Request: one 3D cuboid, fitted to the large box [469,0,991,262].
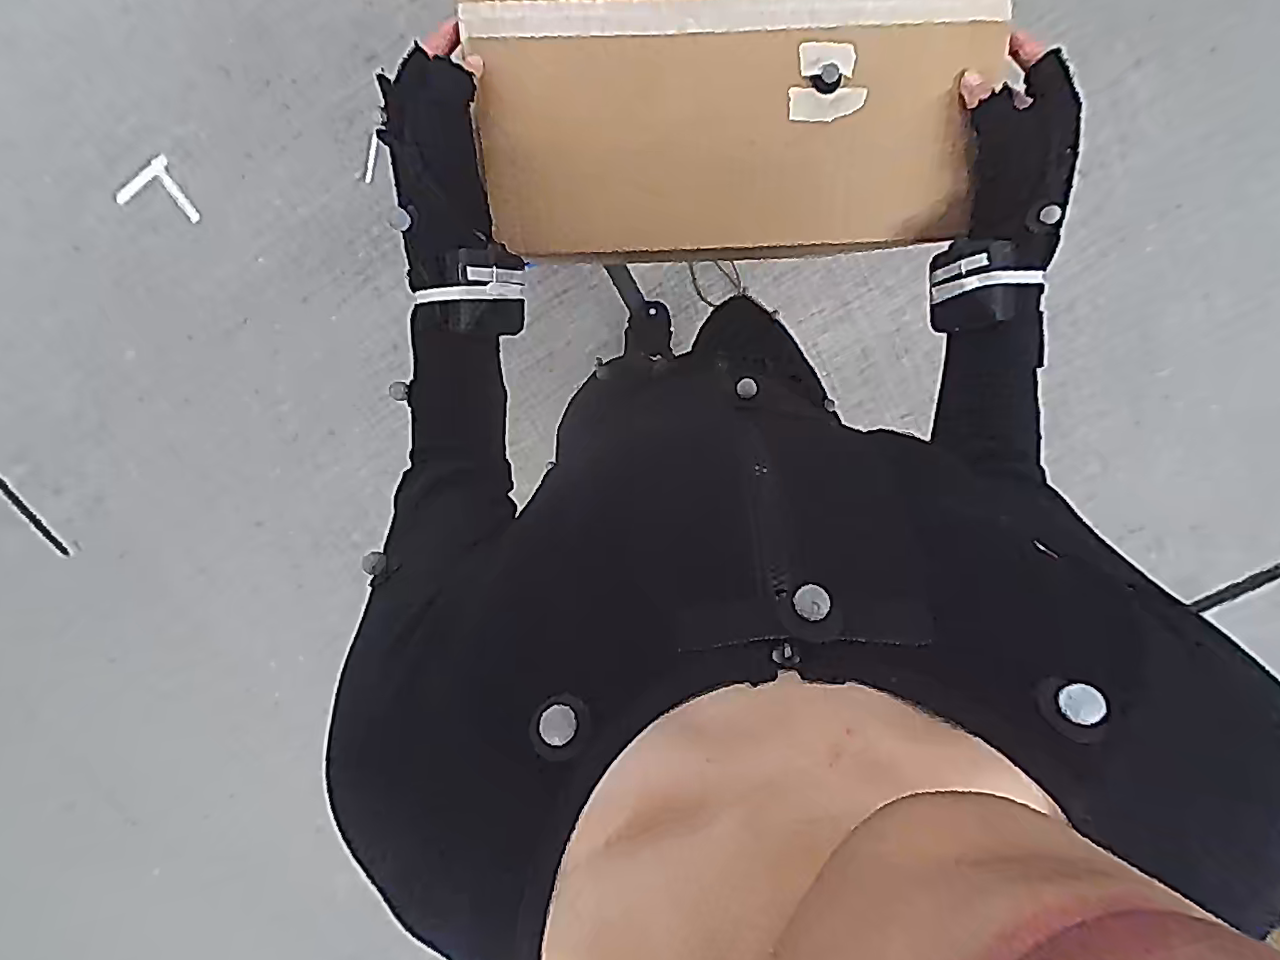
[{"bbox_3d":[0.062,-0.402,0.548,0.408,0.320,0.320,-2,110,-2],"label":"large box"}]
